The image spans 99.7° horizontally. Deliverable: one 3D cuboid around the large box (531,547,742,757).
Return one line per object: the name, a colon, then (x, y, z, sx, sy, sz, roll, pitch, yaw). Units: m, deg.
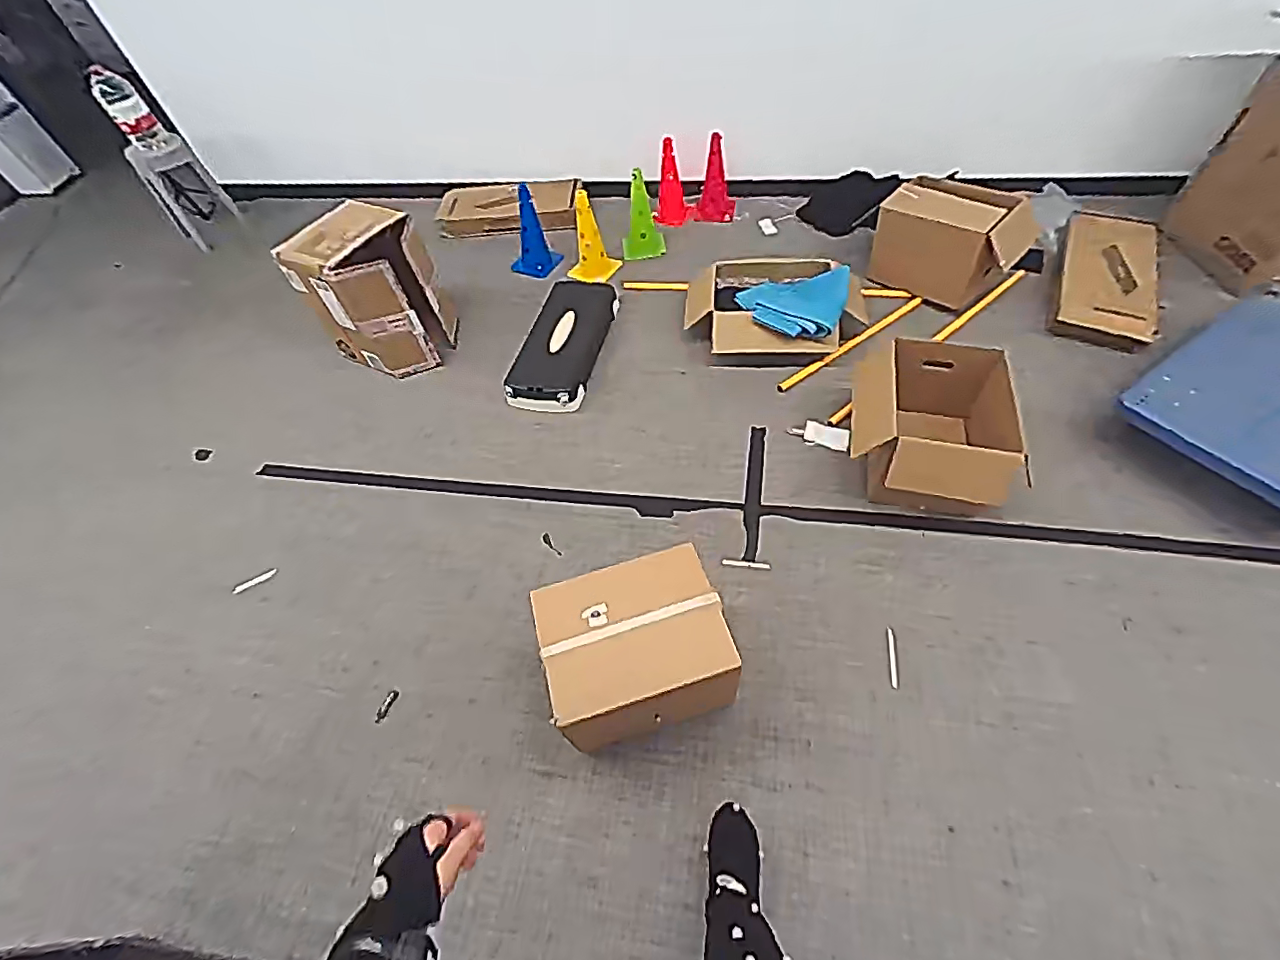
large box: (-0.005, 0.419, 1.301, 0.408, 0.320, 0.320, -18, 53, -6)
